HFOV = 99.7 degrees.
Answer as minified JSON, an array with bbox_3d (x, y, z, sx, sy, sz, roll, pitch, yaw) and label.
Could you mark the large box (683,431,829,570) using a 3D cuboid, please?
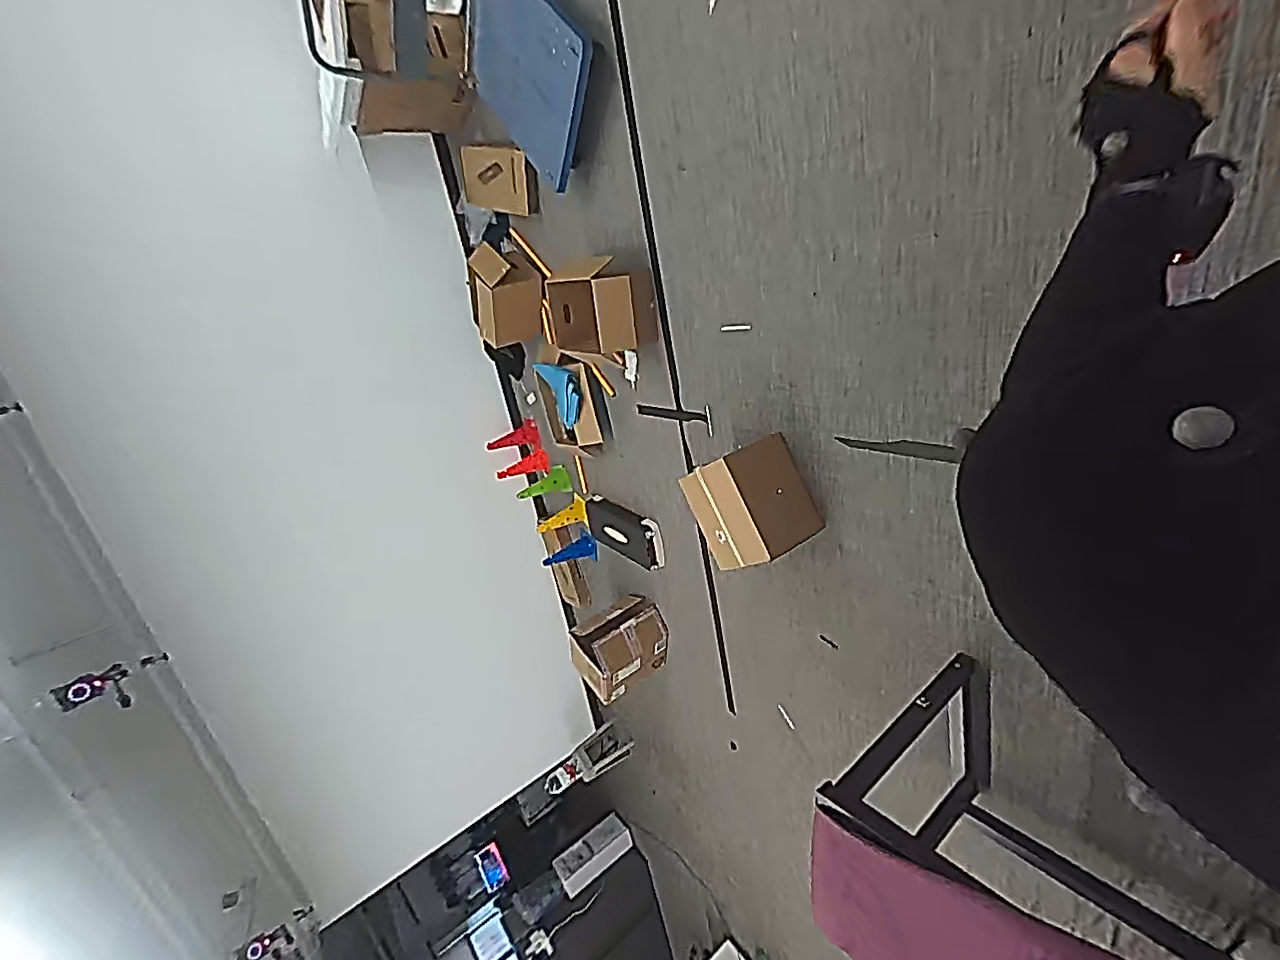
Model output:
[{"bbox_3d":[0.439,0.081,2.068,0.408,0.320,0.320,64,150,3],"label":"large box"}]
